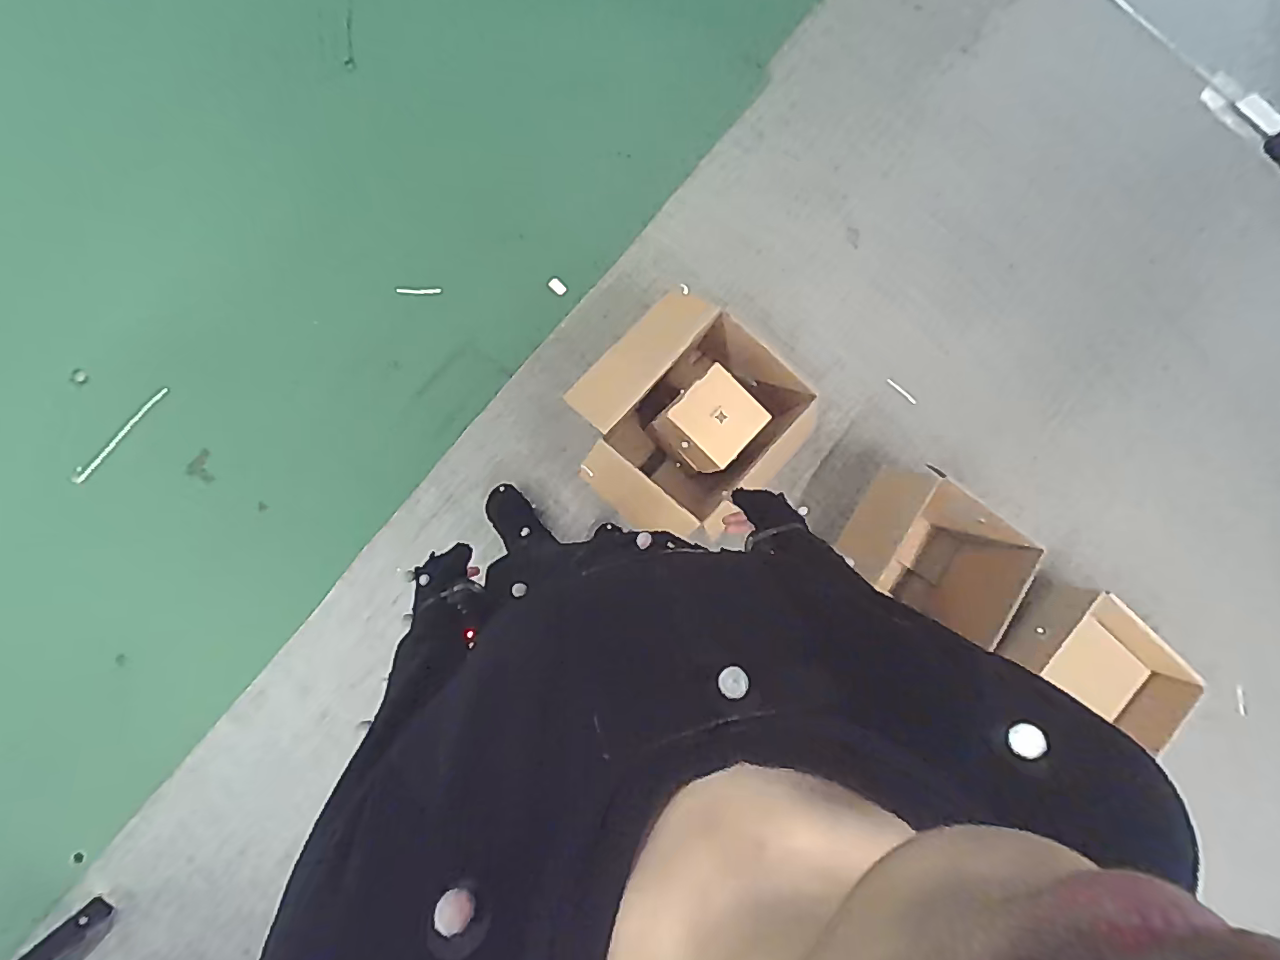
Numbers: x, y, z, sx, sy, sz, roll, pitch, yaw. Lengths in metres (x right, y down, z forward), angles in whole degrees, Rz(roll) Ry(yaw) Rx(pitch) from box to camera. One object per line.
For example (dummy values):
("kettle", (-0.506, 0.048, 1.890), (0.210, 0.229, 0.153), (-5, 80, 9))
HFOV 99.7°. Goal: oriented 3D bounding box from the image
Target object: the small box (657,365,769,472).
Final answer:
("small box", (0.162, -0.133, 1.256), (0.179, 0.176, 0.168), (44, 83, -2))
